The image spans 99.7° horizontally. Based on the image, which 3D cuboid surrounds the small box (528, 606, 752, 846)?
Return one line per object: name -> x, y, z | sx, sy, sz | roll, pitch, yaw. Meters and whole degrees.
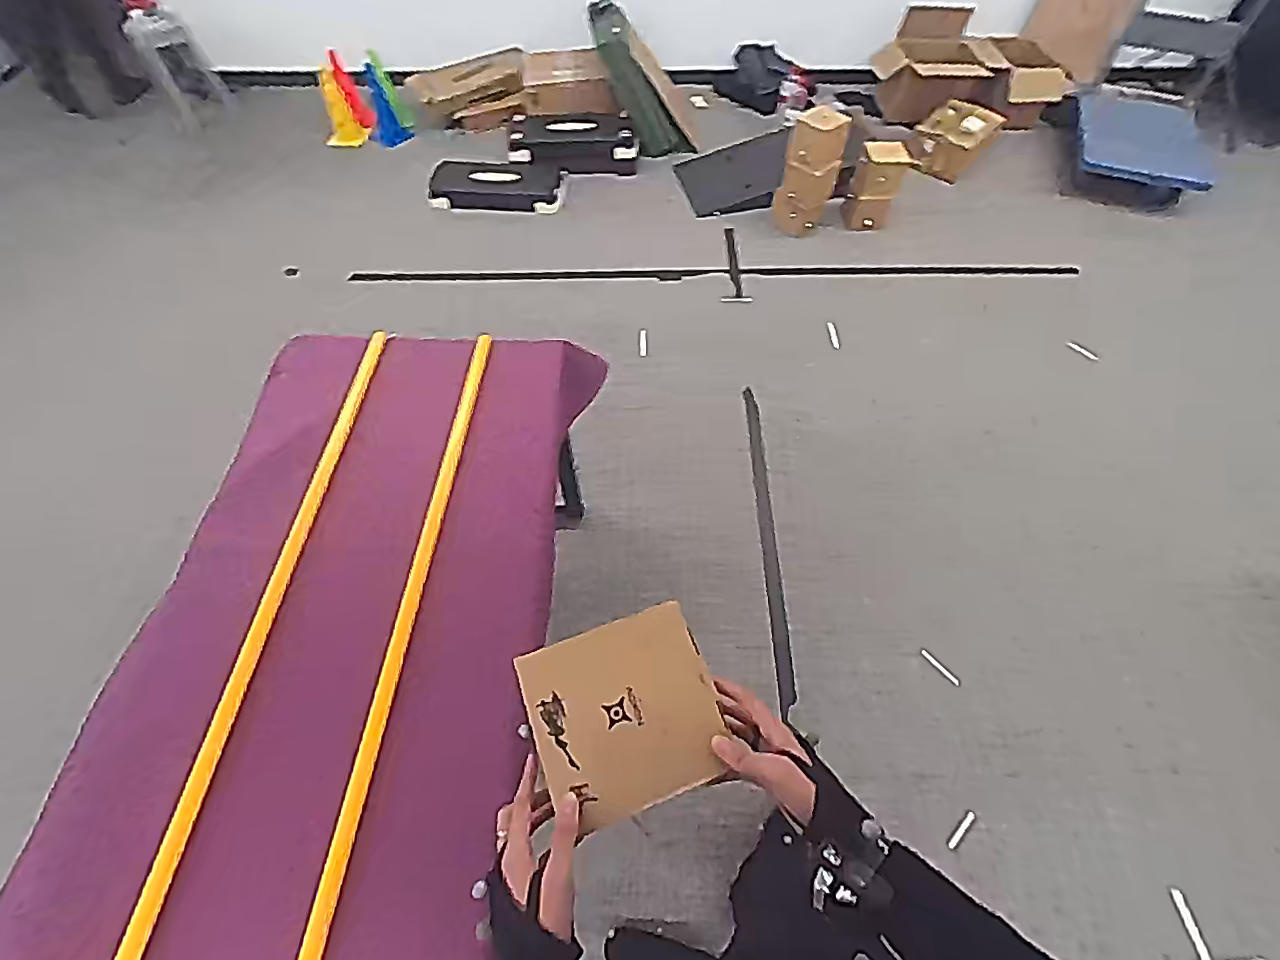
small box -> -0.008, 0.253, 0.582 | 0.179, 0.176, 0.168 | -17, 68, -11
